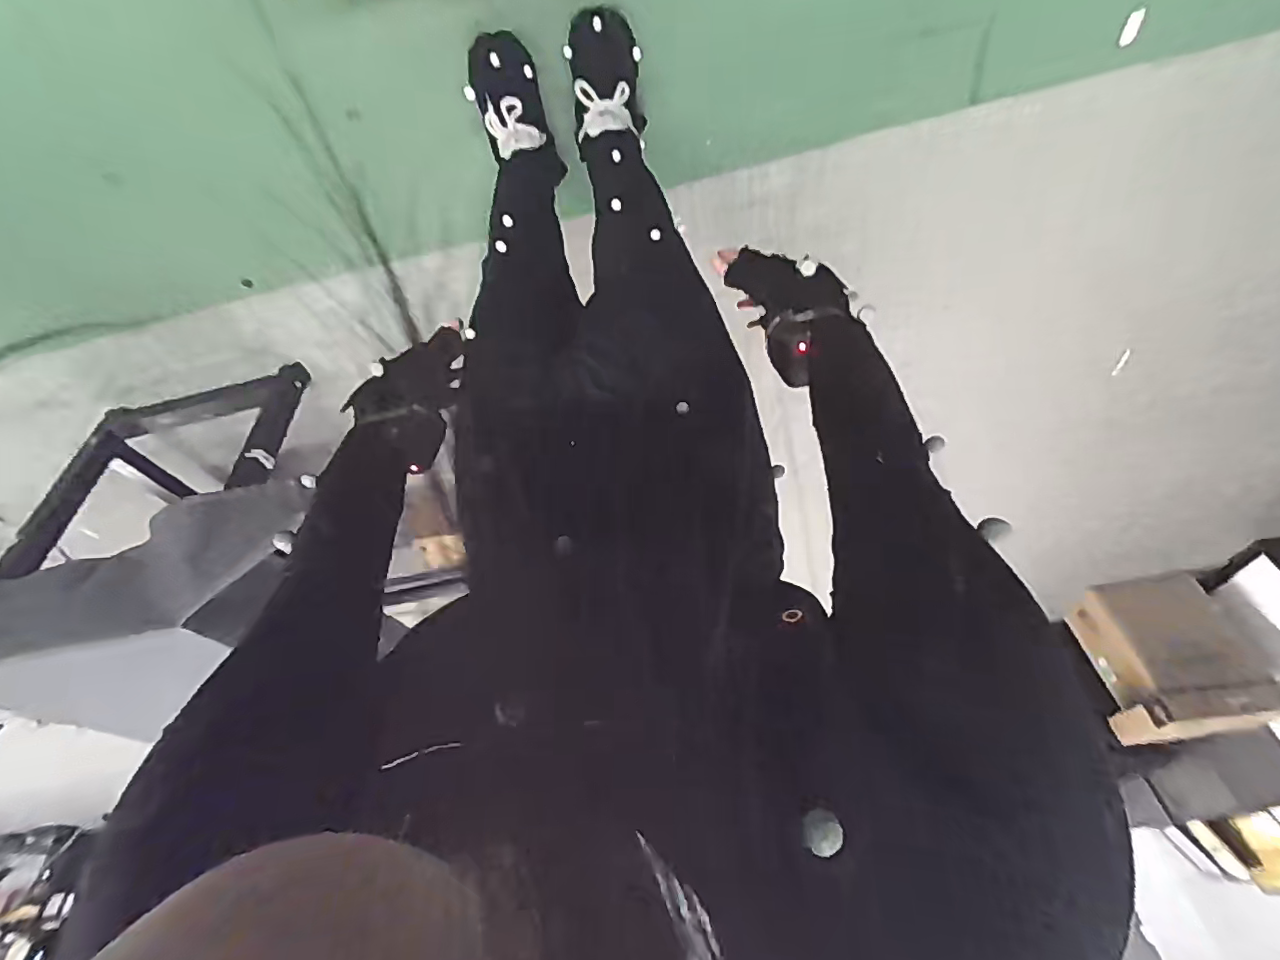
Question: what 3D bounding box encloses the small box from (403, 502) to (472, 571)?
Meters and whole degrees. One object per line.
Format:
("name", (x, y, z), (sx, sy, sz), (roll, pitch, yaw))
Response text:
("small box", (-0.695, 0.193, 1.878), (0.179, 0.176, 0.168), (-10, 142, 1))
